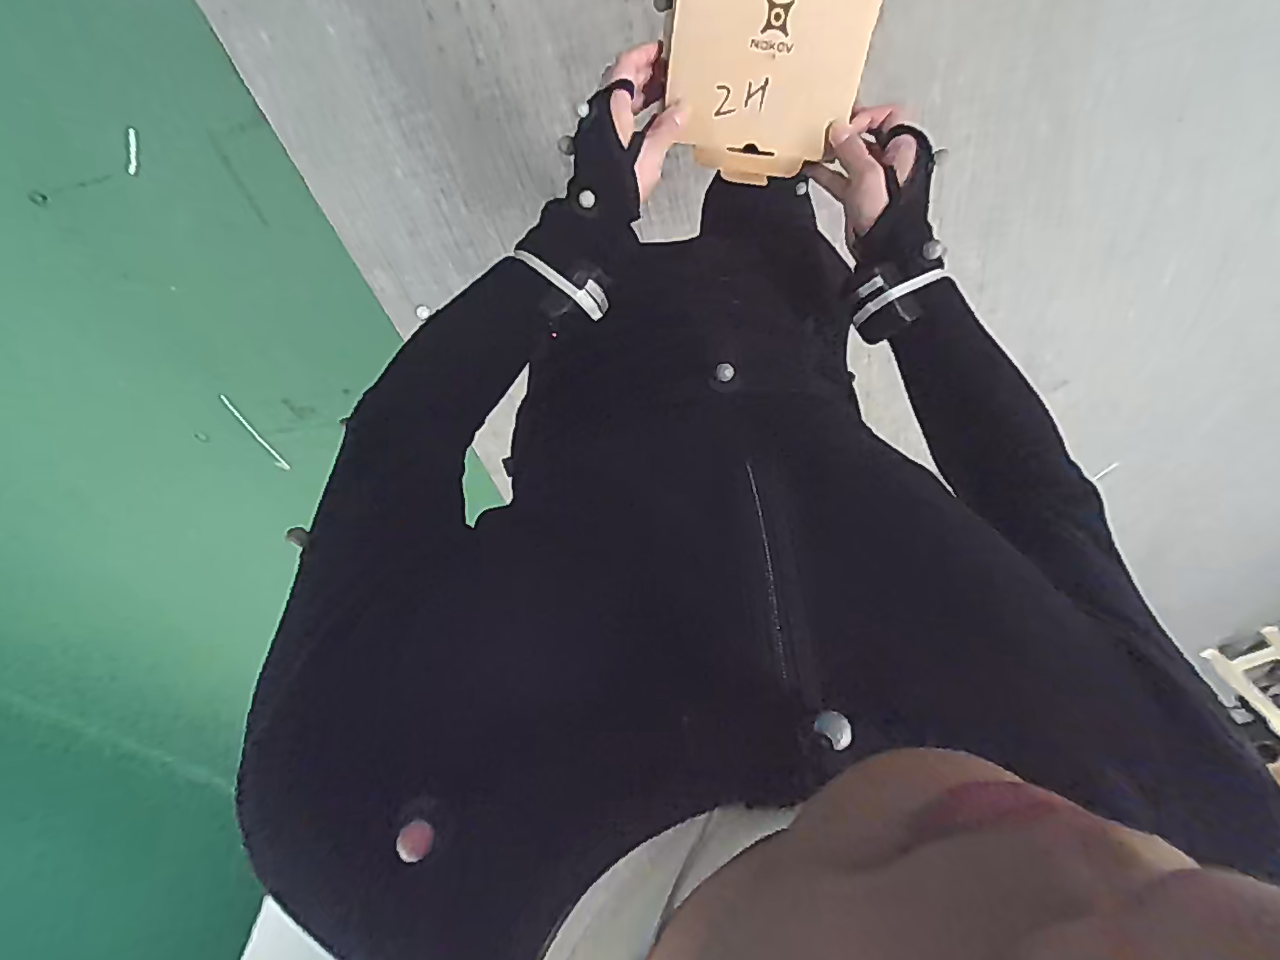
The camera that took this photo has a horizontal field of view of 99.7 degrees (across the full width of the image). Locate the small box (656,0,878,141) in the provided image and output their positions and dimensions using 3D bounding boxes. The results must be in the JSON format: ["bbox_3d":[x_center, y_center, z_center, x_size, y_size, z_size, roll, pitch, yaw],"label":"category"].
[{"bbox_3d":[0.107,-0.429,0.495,0.168,0.176,0.179,5,126,-4],"label":"small box"}]
